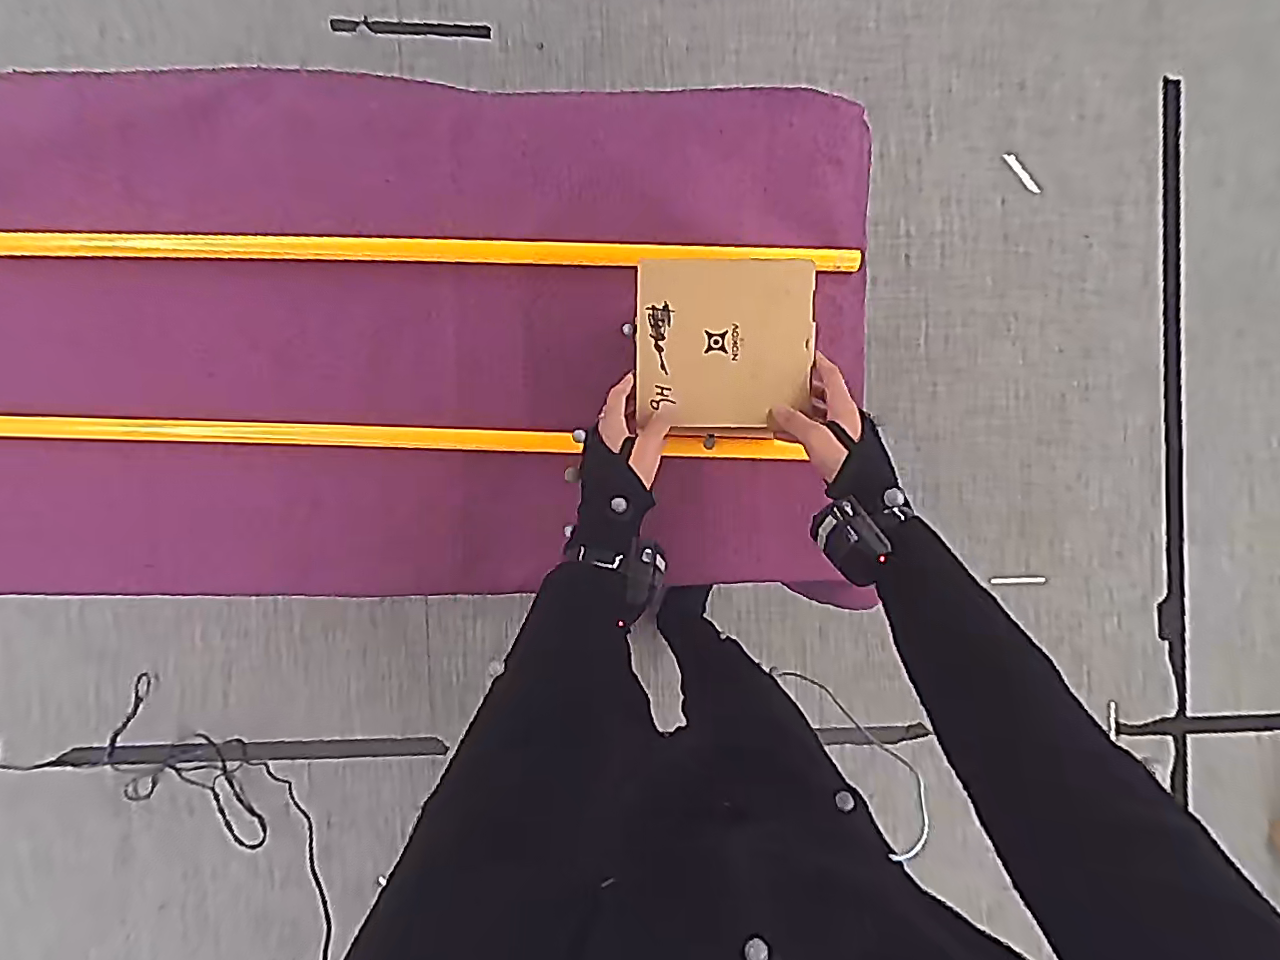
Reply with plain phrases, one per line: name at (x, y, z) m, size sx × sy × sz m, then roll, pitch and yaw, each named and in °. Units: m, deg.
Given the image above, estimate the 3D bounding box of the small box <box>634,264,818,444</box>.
small box at (0.083, -0.127, 0.603) m, size 0.179 × 0.176 × 0.168 m, roll 1°, pitch 91°, yaw 0°
